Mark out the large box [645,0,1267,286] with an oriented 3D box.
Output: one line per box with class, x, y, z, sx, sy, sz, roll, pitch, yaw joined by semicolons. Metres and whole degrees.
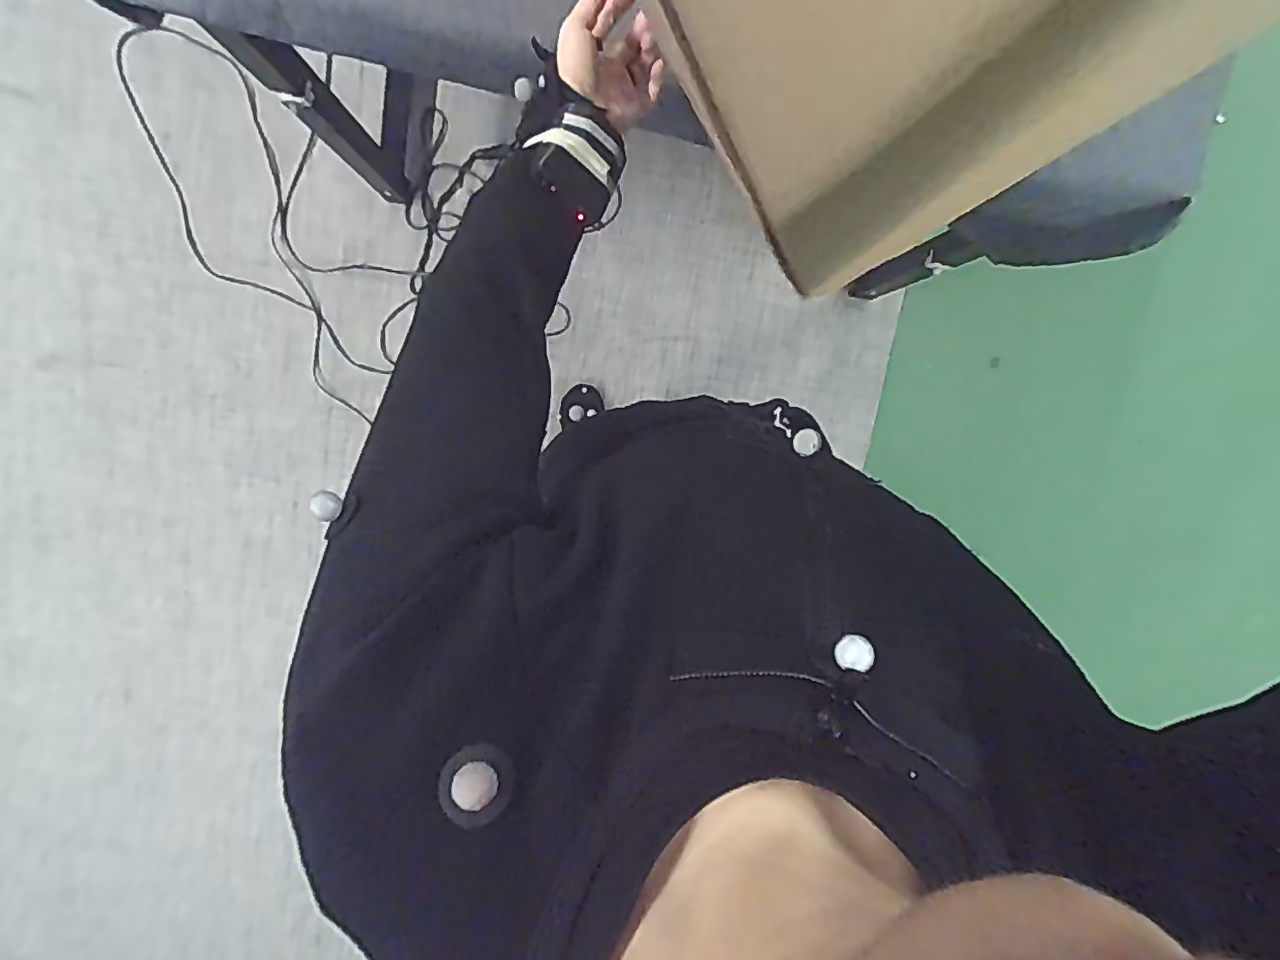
large box;0.161;-0.355;0.204;0.408;0.320;0.320;-31;77;23
